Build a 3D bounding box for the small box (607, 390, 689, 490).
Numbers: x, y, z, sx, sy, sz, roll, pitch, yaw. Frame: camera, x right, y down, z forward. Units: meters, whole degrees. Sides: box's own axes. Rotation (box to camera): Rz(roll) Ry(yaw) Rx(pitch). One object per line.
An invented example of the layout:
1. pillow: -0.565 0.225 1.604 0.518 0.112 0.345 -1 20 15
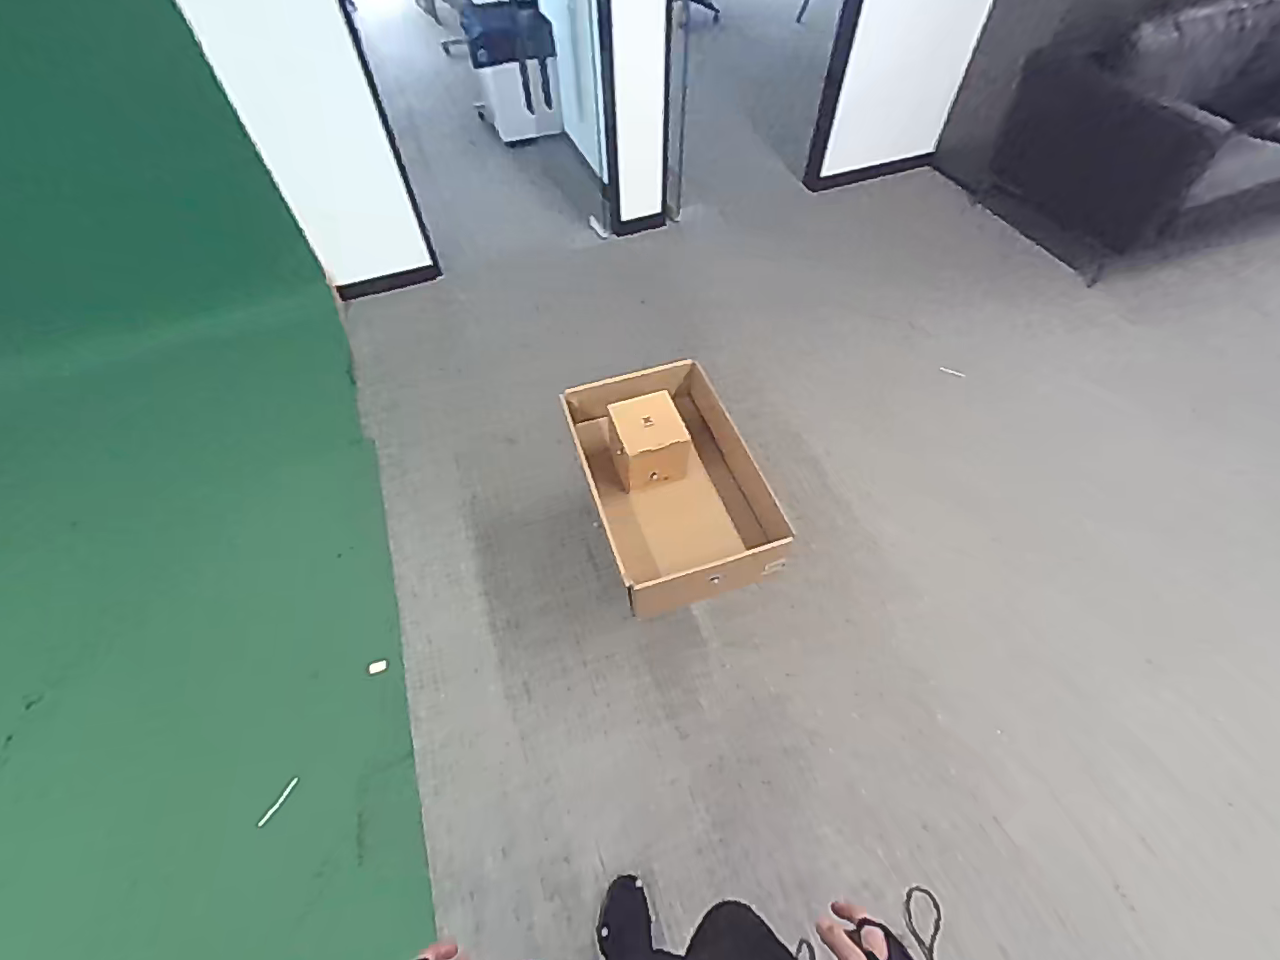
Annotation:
1. small box: 0.016 -0.102 1.415 0.168 0.176 0.179 -17 57 -11
